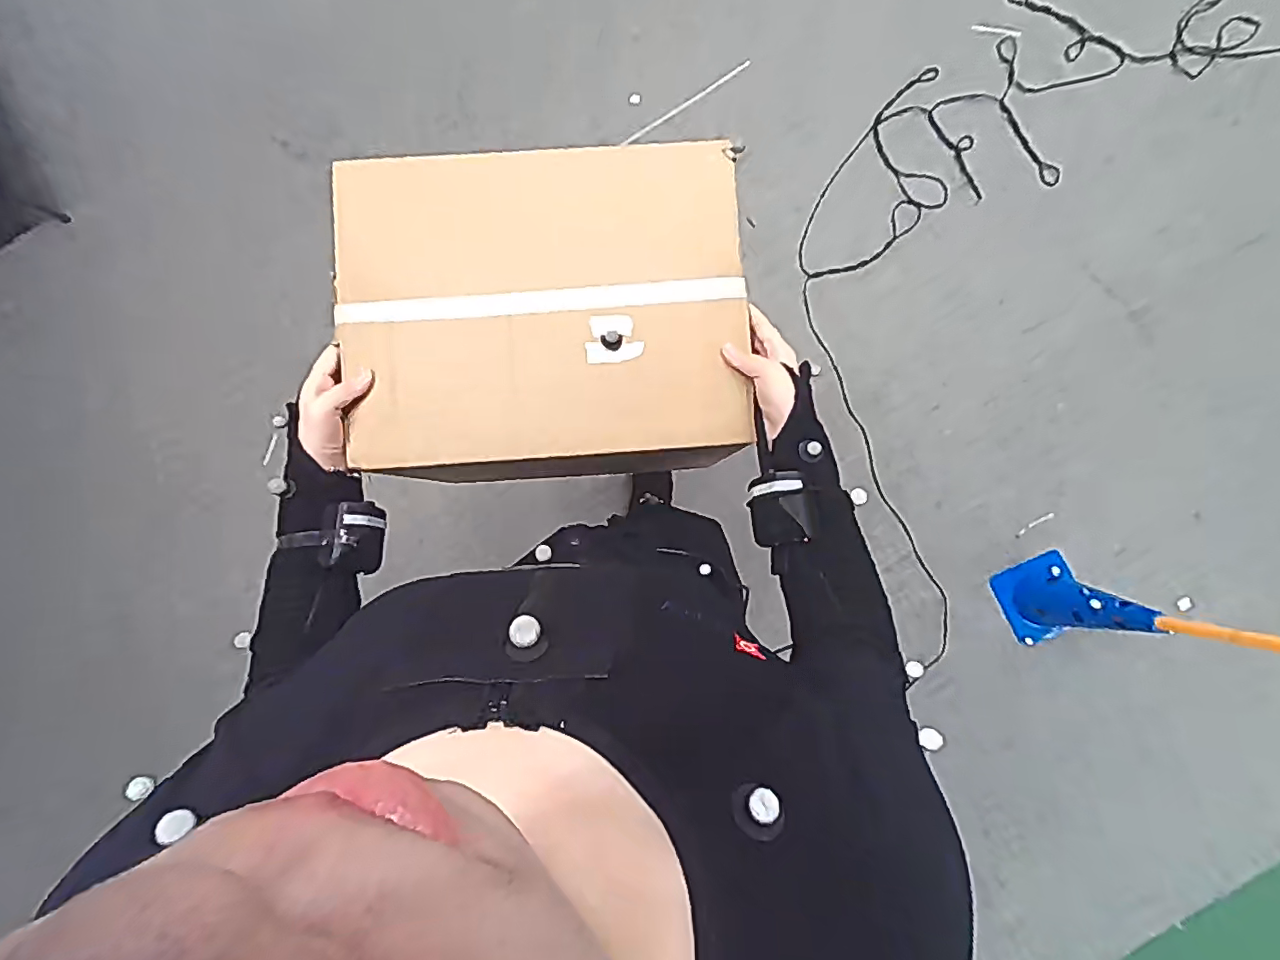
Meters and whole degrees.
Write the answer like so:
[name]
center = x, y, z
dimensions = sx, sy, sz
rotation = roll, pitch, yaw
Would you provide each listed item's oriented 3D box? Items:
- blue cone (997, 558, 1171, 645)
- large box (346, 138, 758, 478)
[blue cone]
center = 1.042, 0.303, 1.253
dimensions = 0.193, 0.380, 0.192
rotation = -23, 85, 2
[large box]
center = -0.096, -0.180, 0.695
dimensions = 0.408, 0.320, 0.320
rotation = -4, 87, -2
